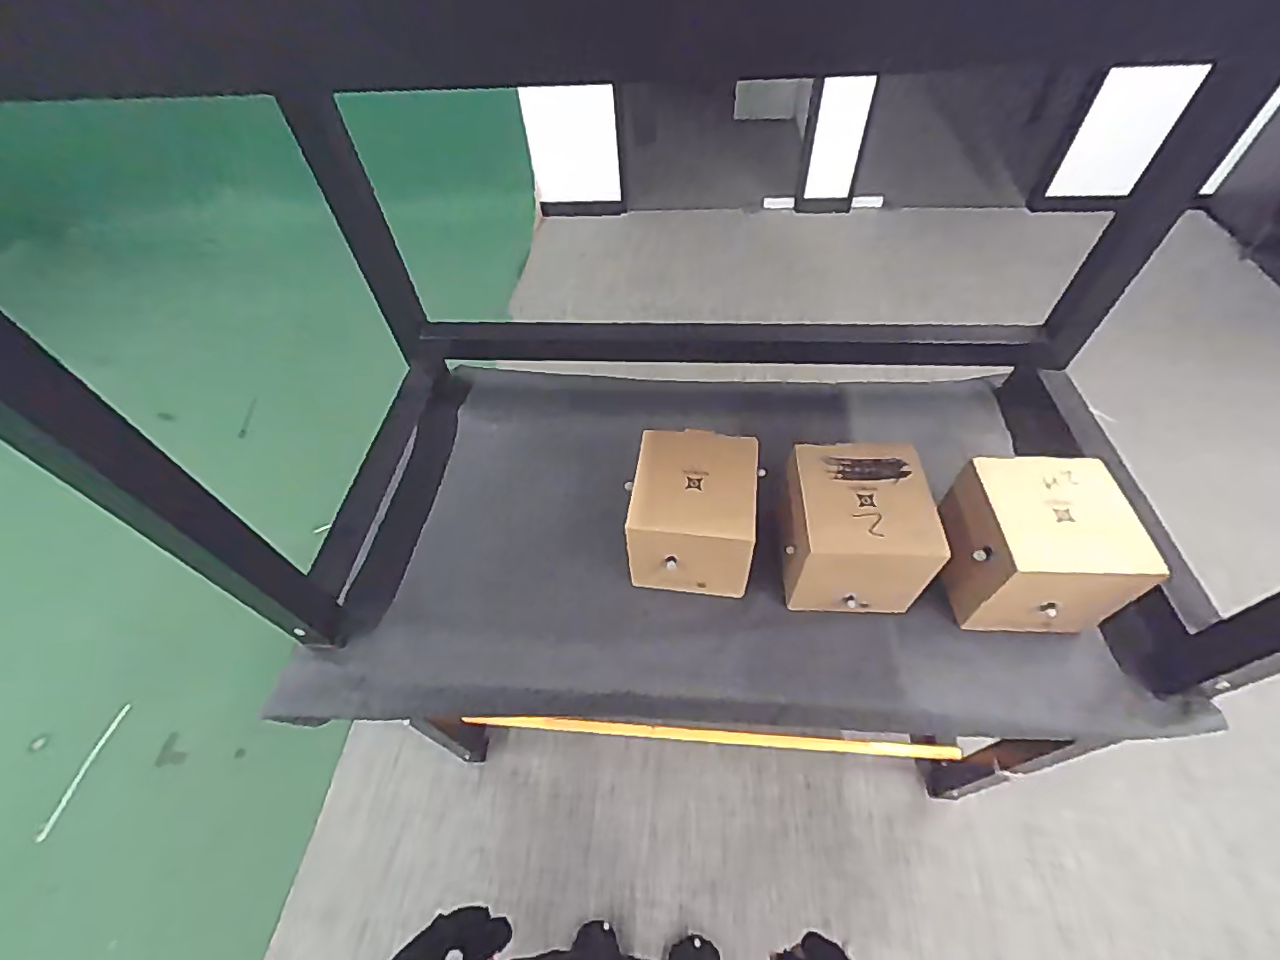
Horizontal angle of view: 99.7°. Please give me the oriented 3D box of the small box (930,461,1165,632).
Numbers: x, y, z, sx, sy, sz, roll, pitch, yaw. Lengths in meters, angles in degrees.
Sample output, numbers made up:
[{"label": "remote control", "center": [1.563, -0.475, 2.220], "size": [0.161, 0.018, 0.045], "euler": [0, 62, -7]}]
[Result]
[{"label": "small box", "center": [0.524, 0.093, 0.730], "size": [0.168, 0.176, 0.179], "euler": [1, 51, 4]}]

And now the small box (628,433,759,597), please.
[{"label": "small box", "center": [0.082, 0.054, 0.793], "size": [0.168, 0.176, 0.179], "euler": [5, 52, 7]}]
